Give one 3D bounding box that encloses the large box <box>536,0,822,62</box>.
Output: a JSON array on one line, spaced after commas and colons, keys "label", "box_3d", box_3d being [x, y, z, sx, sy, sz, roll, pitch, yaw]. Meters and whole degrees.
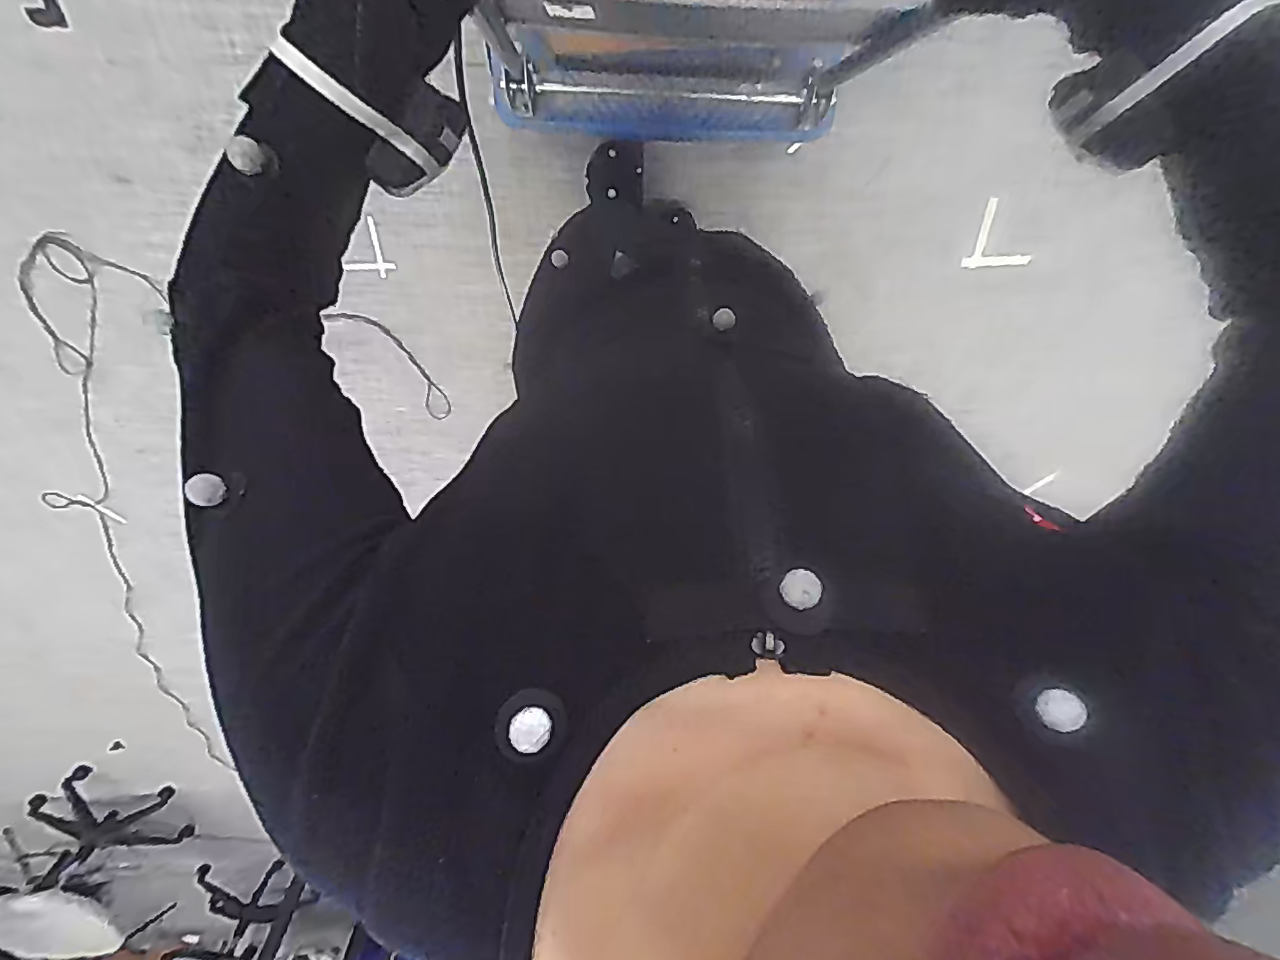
[{"label": "large box", "box_3d": [0.046, -0.789, 0.699, 0.408, 0.320, 0.320, -5, 113, -2]}]
